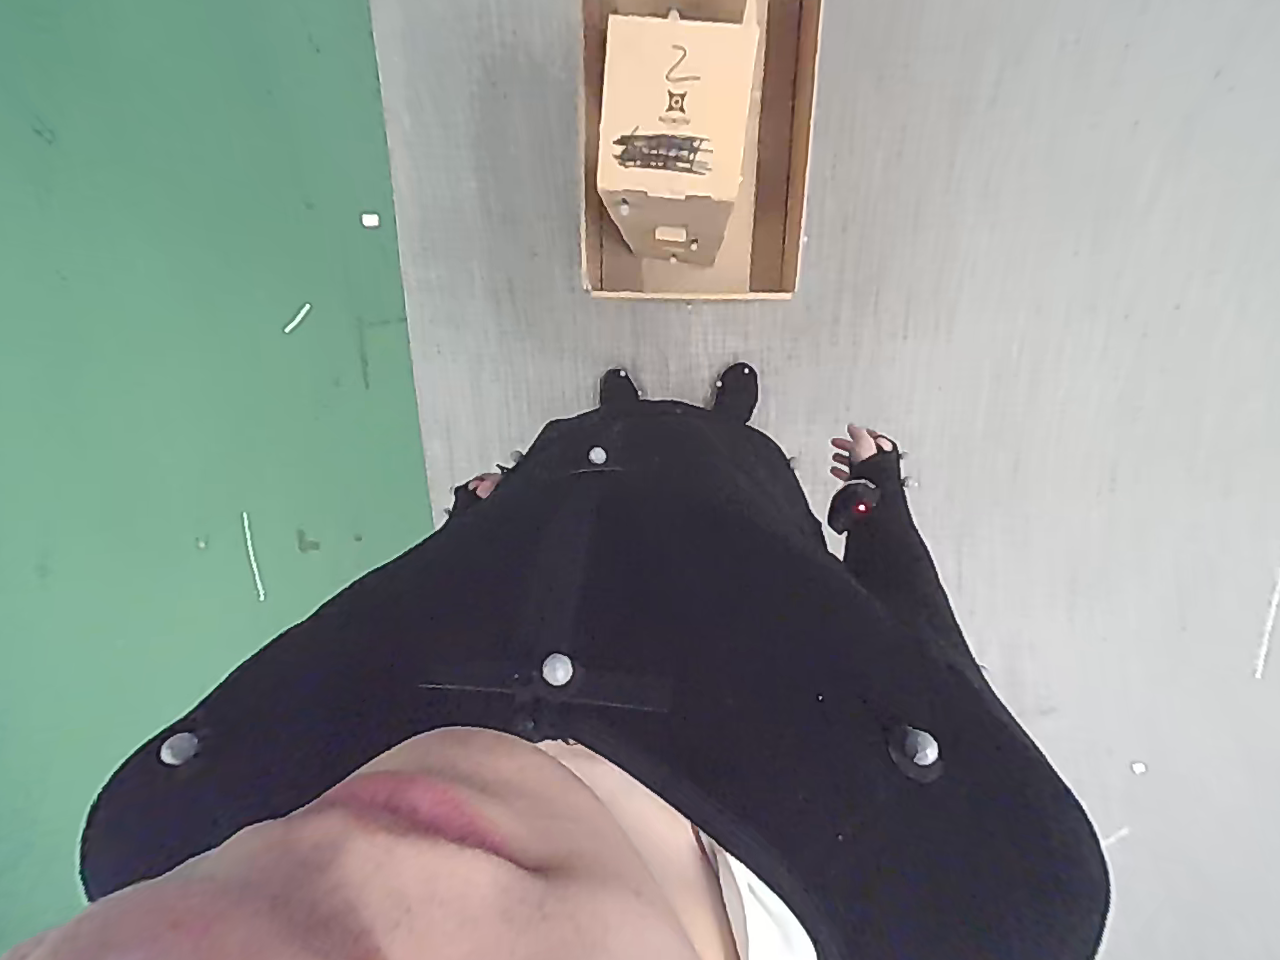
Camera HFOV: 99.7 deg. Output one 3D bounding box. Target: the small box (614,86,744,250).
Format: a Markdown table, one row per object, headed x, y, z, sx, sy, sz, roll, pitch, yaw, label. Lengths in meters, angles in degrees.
| x | y | z | sx | sy | sz | roll | pitch | yaw | label |
| --- | --- | --- | --- | --- | --- | --- | --- | --- | --- |
| 0.058 | -0.467 | 0.838 | 0.168 | 0.176 | 0.179 | 7 | 103 | 2 | small box |

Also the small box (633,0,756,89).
| x | y | z | sx | sy | sz | roll | pitch | yaw | label |
| --- | --- | --- | --- | --- | --- | --- | --- | --- | --- |
| 0.077 | -0.702 | 0.783 | 0.168 | 0.176 | 0.179 | 1 | 106 | 4 | small box |

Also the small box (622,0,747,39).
| x | y | z | sx | sy | sz | roll | pitch | yaw | label |
| --- | --- | --- | --- | --- | --- | --- | --- | --- | --- |
| 0.060 | -0.664 | 0.624 | 0.168 | 0.176 | 0.179 | 10 | 107 | 2 | small box |
